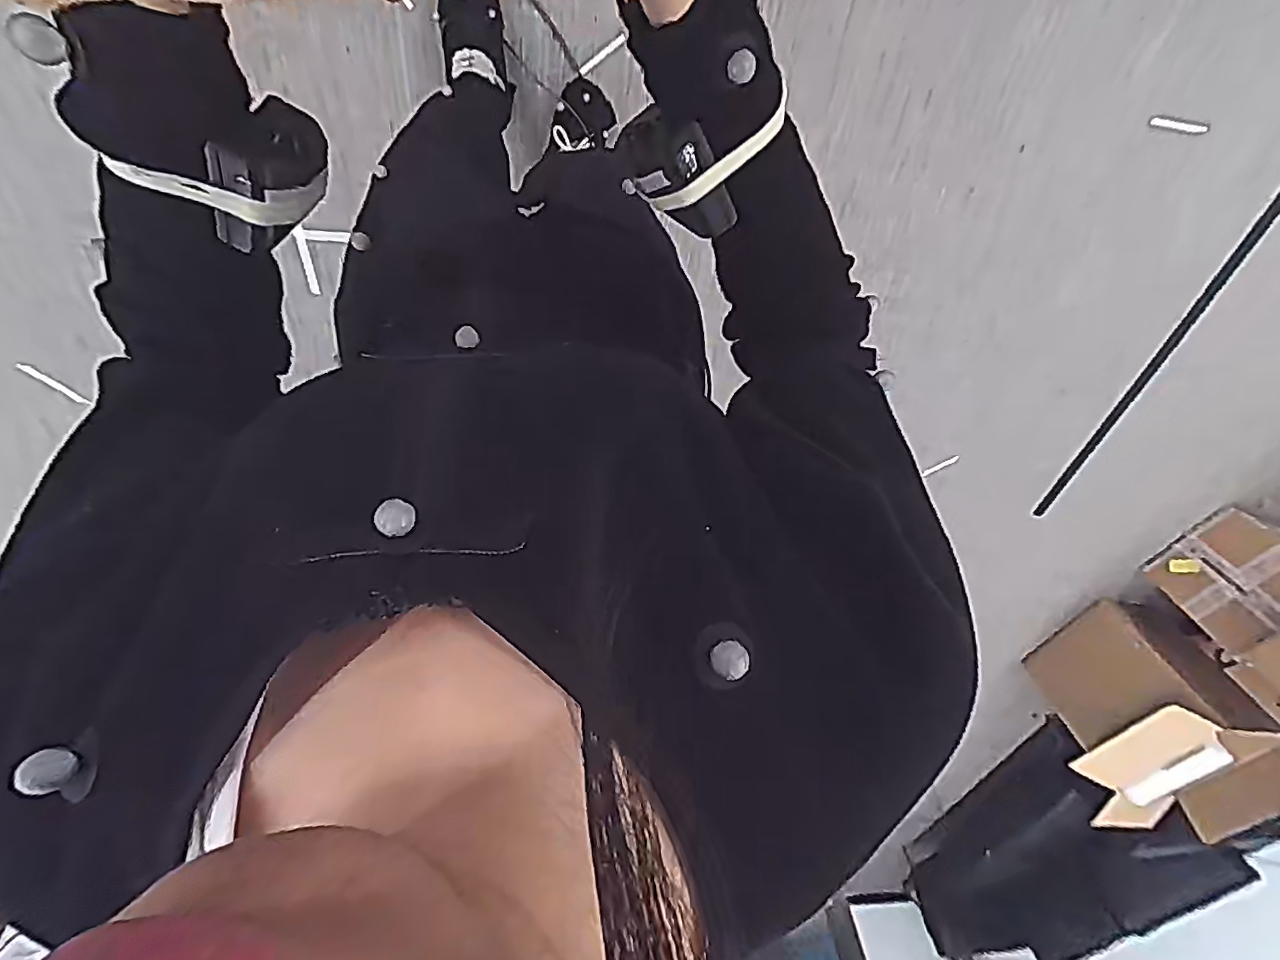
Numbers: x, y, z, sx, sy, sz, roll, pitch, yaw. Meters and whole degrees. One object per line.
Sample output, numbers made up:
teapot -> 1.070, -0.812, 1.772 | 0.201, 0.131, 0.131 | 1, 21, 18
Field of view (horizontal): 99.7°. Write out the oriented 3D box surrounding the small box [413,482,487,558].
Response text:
small box -> -0.584, 0.121, 1.683 | 0.179, 0.176, 0.168 | -3, 130, -6
